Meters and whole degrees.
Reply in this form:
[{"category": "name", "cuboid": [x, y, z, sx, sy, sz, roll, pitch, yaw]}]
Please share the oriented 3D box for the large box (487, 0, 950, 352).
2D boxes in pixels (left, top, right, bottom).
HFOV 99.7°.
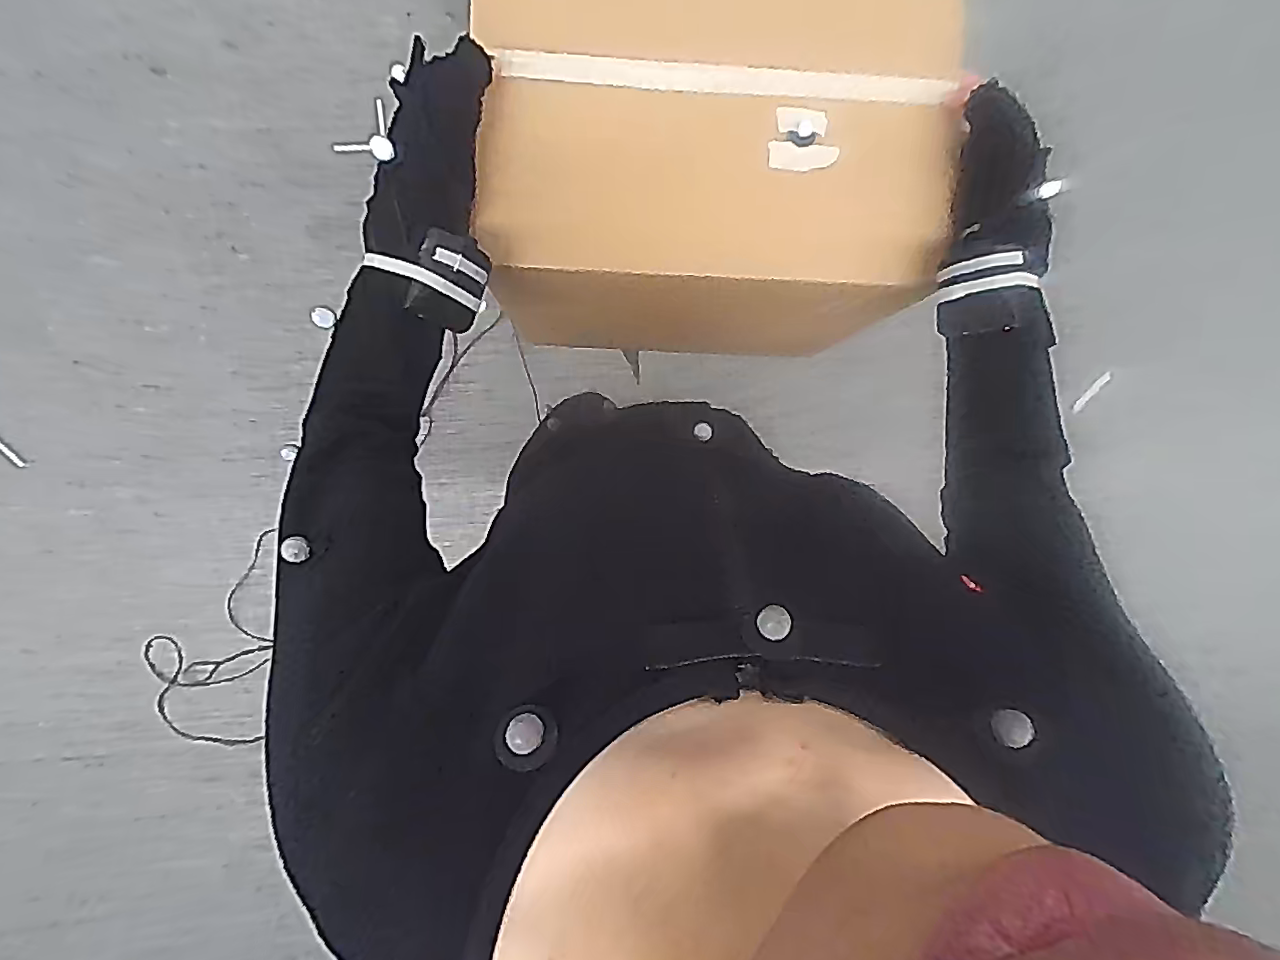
[{"category": "large box", "cuboid": [0.059, -0.334, 0.610, 0.408, 0.320, 0.320, 1, 92, -4]}]
